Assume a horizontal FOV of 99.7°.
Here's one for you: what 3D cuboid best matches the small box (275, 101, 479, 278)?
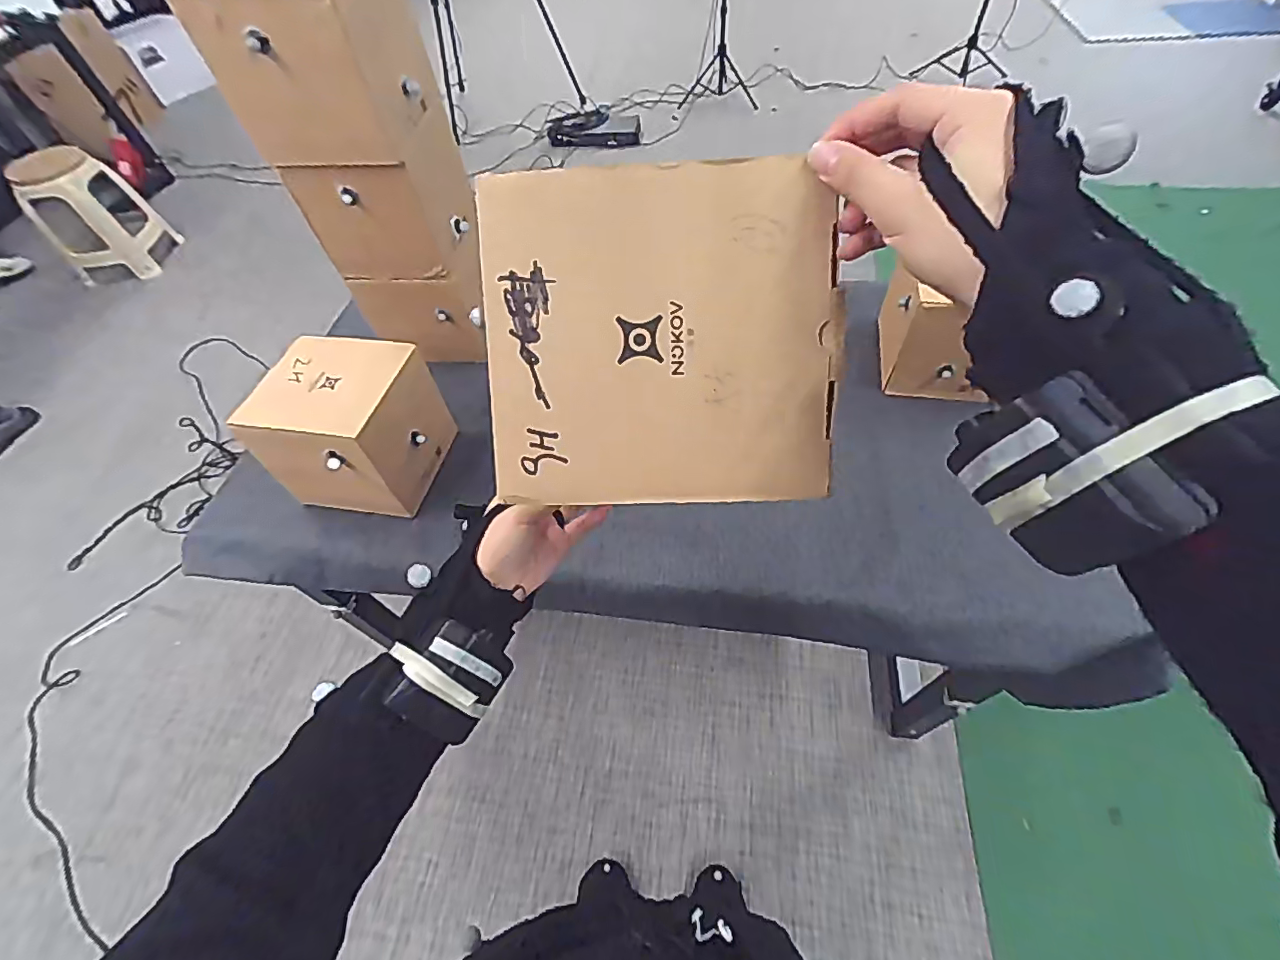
[{"bbox_3d":[-0.353,-0.406,0.765,0.179,0.176,0.168,2,58,5],"label":"small box"}]

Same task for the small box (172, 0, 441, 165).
[{"bbox_3d":[-0.362,-0.489,0.623,0.179,0.176,0.168,4,58,6],"label":"small box"}]

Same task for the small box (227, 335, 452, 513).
[{"bbox_3d":[-0.381,-0.071,0.730,0.179,0.176,0.168,6,54,9],"label":"small box"}]

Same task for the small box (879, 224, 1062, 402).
[{"bbox_3d":[0.451,-0.237,0.774,0.168,0.176,0.179,7,58,10],"label":"small box"}]

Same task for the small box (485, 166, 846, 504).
[{"bbox_3d":[0.015,-0.081,0.350,0.179,0.176,0.168,0,98,3],"label":"small box"}]
